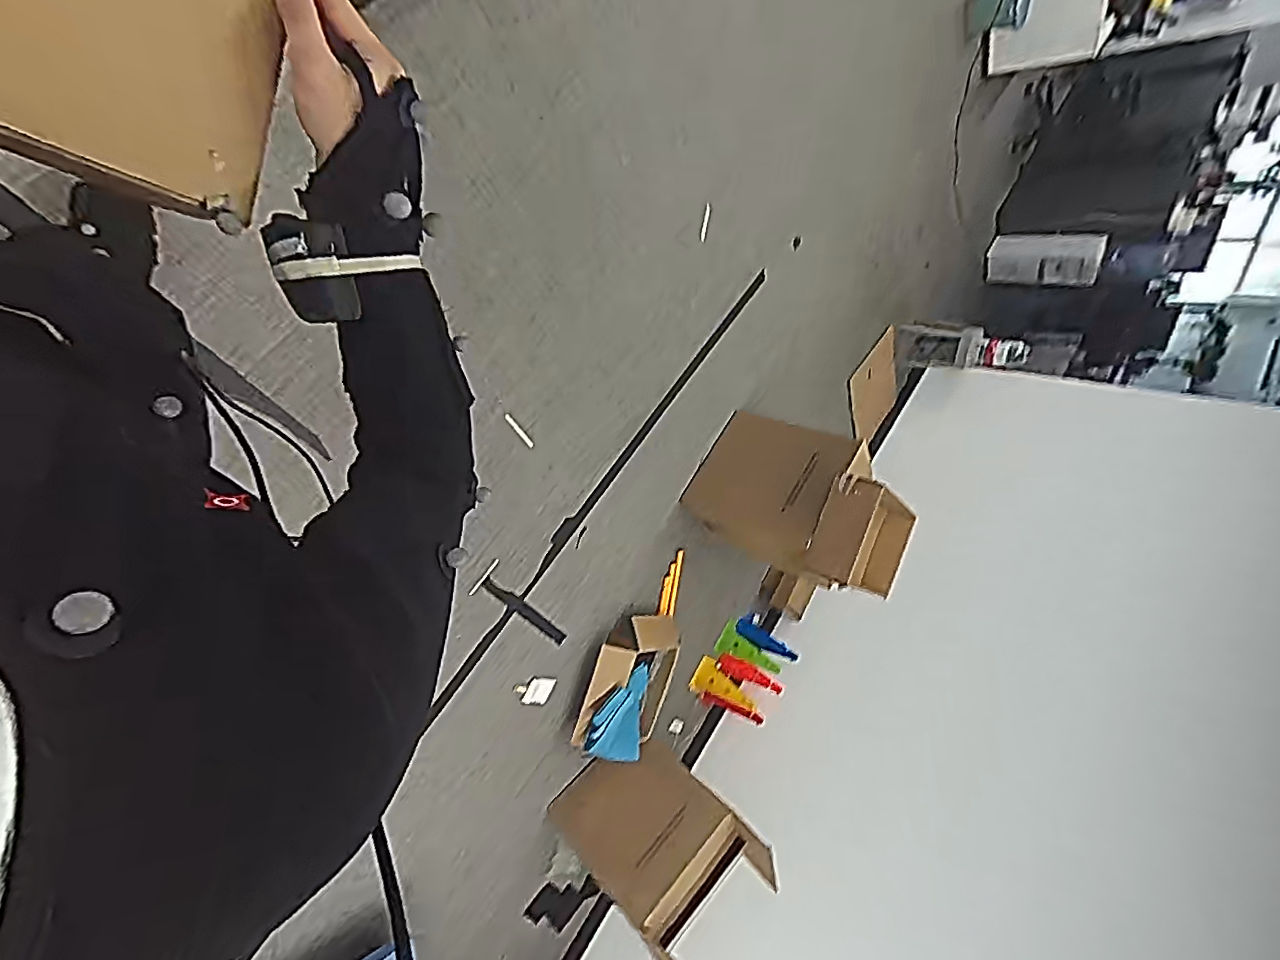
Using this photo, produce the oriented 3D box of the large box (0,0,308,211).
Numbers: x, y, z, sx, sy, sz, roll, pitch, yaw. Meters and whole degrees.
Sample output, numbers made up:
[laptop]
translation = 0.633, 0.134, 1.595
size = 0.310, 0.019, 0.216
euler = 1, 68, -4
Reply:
[large box]
translation = -0.370, -0.411, 0.265
size = 0.320, 0.320, 0.408
euler = 5, 108, -50
